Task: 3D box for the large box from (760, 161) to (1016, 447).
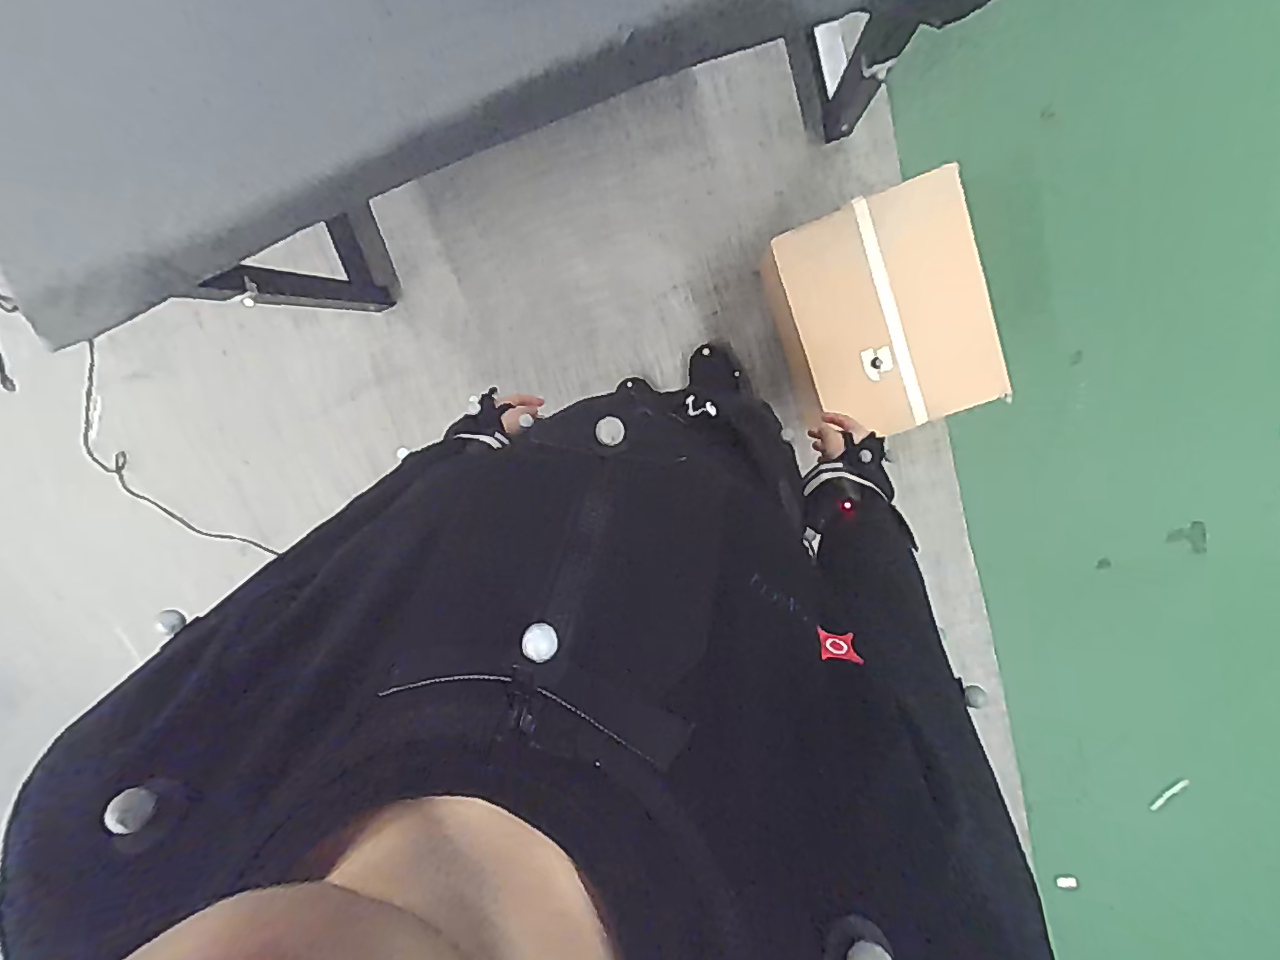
[{"bbox_3d":[0.462,-0.327,1.080,0.320,0.320,0.408,-19,102,13],"label":"large box"}]
